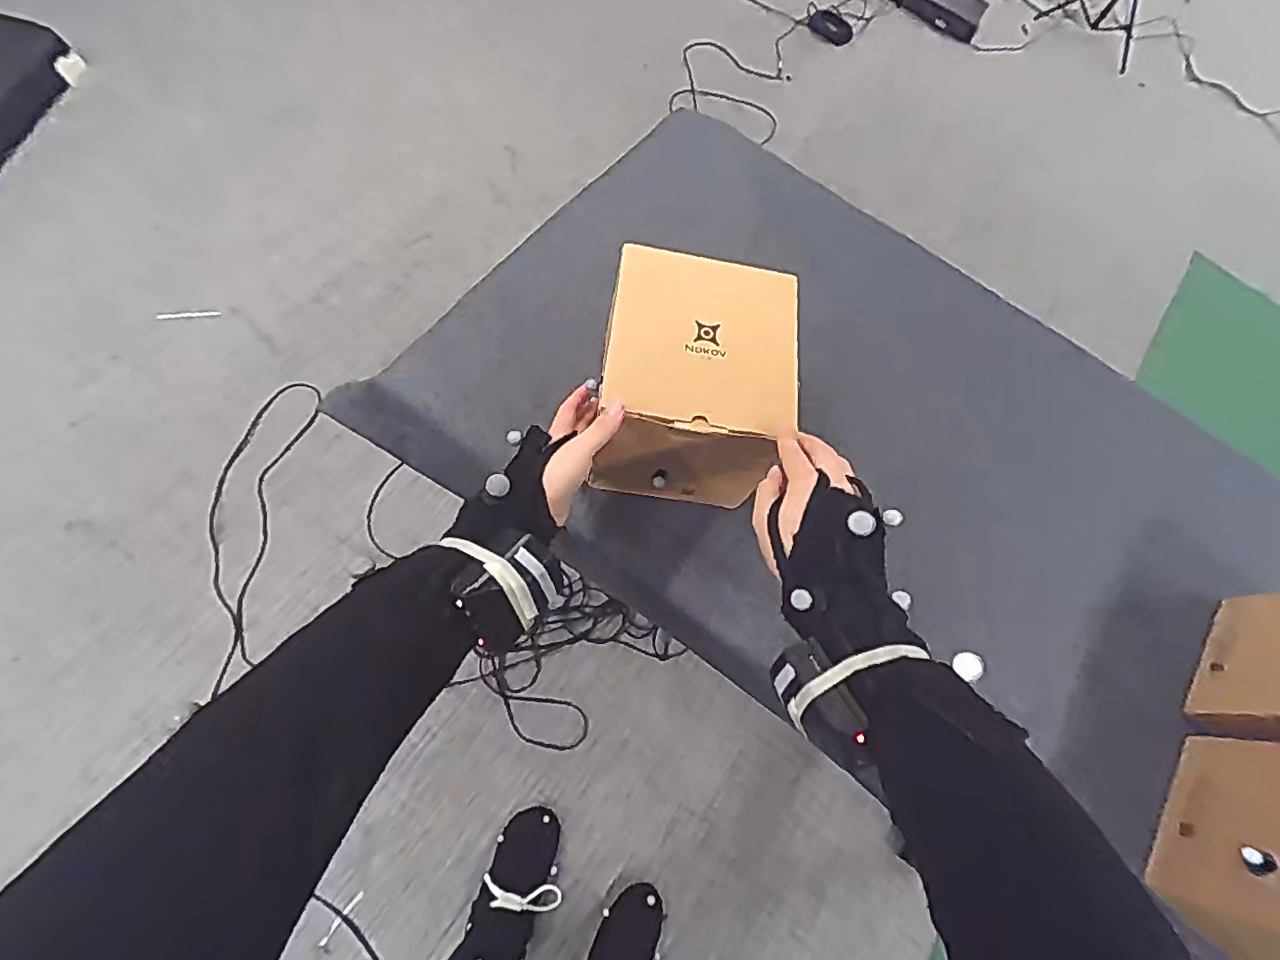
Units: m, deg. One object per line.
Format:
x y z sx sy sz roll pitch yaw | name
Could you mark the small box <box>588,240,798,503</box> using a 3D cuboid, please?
0.043 -0.095 0.534 0.168 0.176 0.179 9 68 -6 | small box
